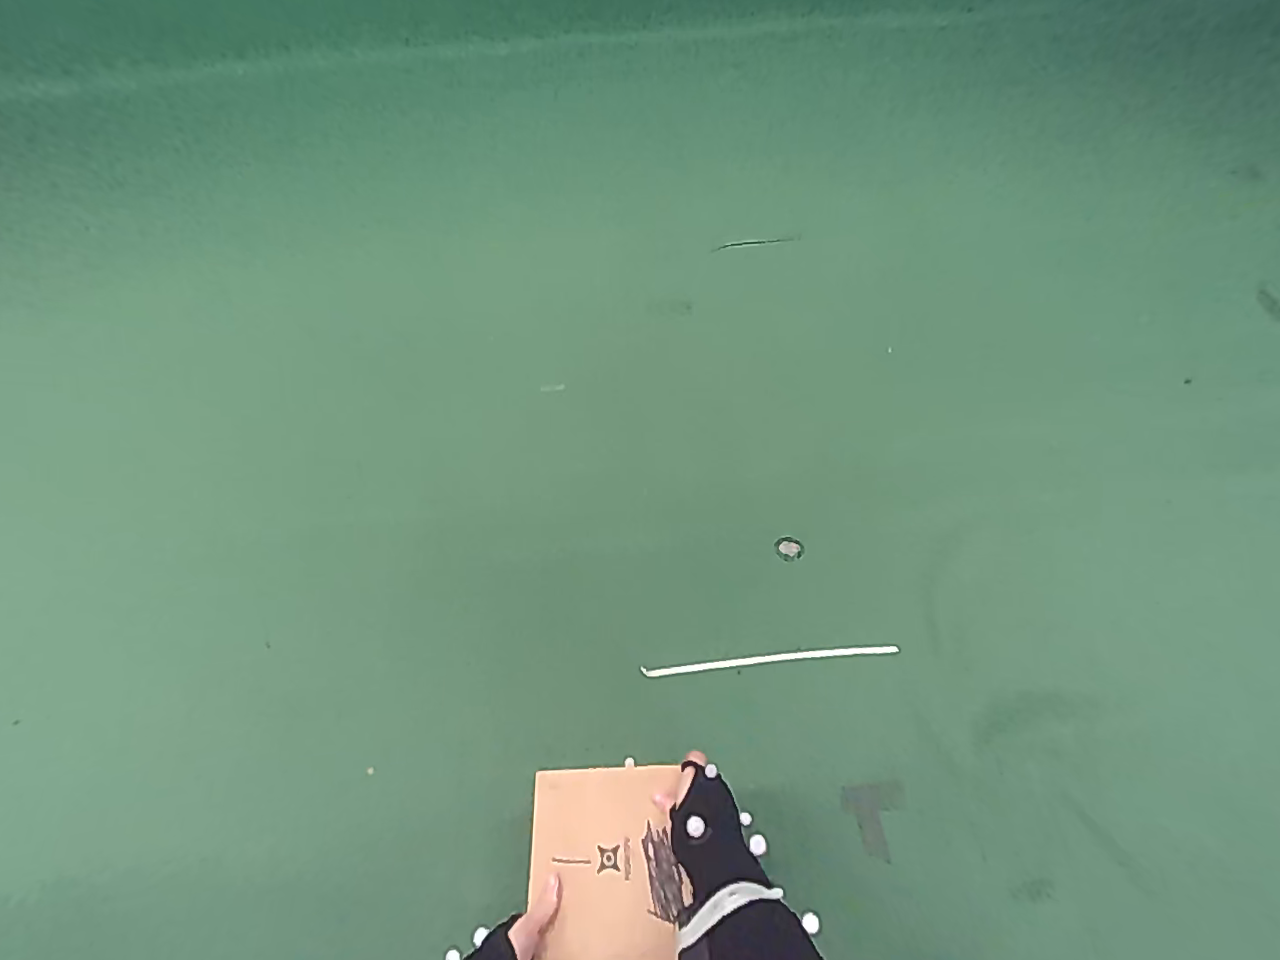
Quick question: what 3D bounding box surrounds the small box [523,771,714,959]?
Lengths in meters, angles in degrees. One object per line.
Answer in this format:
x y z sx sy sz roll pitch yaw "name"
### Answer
-0.018 0.426 0.597 0.179 0.176 0.168 -4 54 2 "small box"
